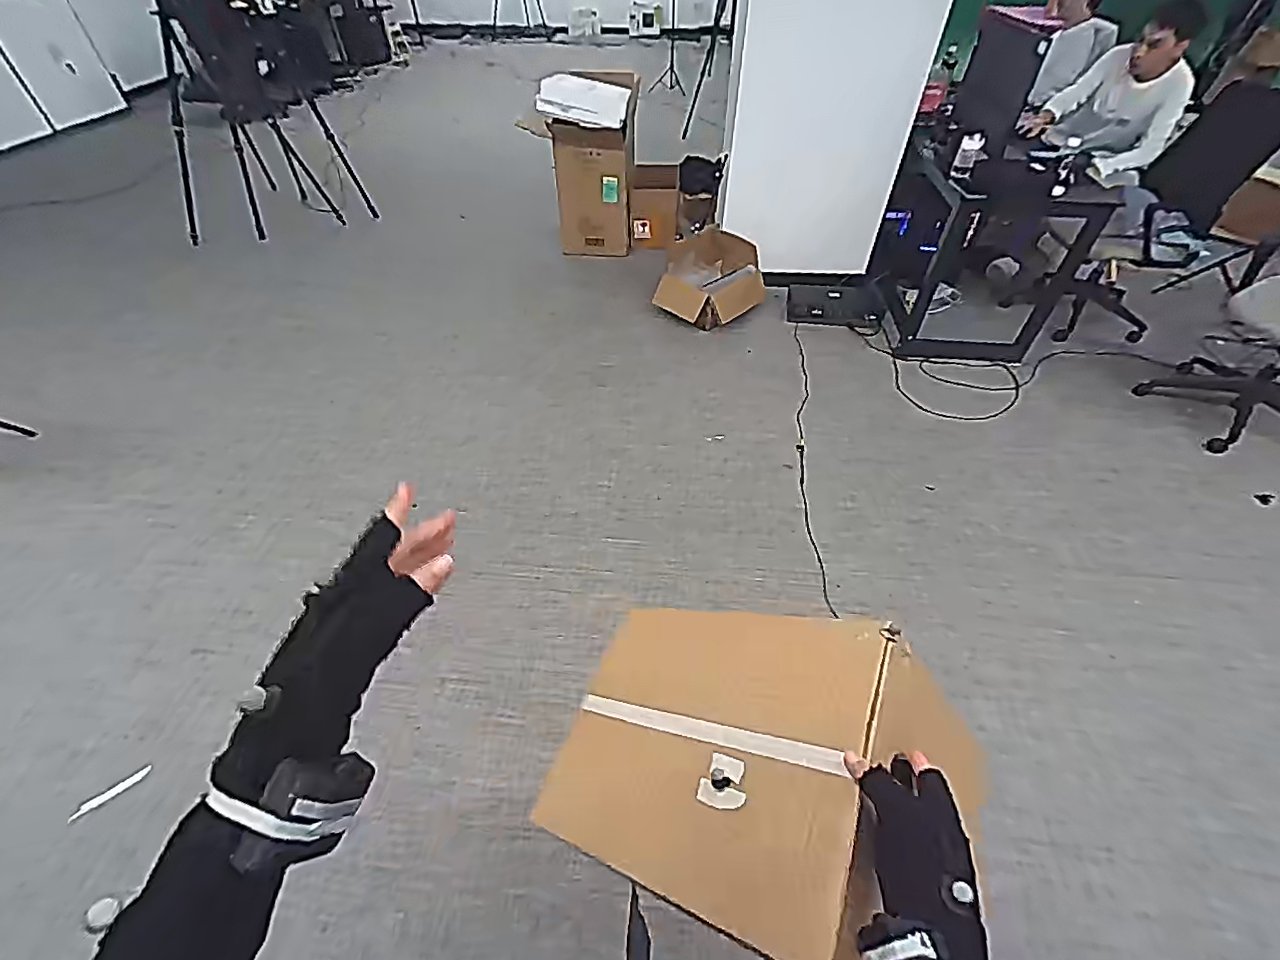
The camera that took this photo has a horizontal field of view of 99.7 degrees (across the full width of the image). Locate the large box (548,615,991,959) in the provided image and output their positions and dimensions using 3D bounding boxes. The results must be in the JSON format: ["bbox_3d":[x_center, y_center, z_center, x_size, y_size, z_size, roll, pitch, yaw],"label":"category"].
[{"bbox_3d":[0.166,0.397,0.698,0.408,0.320,0.320,-12,38,47],"label":"large box"}]
